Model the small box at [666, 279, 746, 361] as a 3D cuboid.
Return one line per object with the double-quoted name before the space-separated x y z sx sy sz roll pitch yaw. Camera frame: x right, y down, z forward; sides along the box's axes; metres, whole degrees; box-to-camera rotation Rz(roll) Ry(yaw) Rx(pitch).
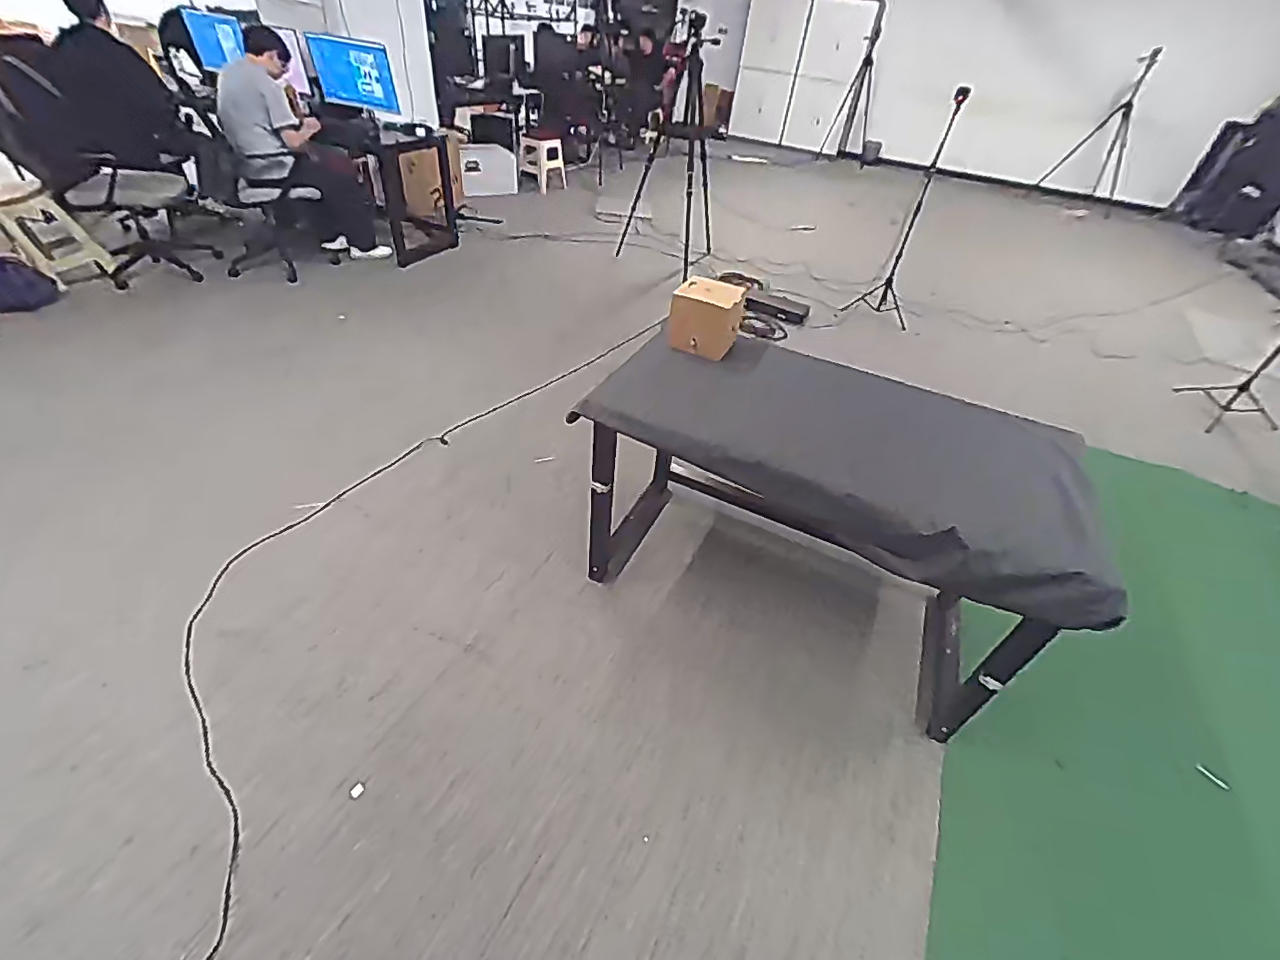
"small box" 0.195 -0.478 1.627 0.179 0.176 0.168 22 44 16
